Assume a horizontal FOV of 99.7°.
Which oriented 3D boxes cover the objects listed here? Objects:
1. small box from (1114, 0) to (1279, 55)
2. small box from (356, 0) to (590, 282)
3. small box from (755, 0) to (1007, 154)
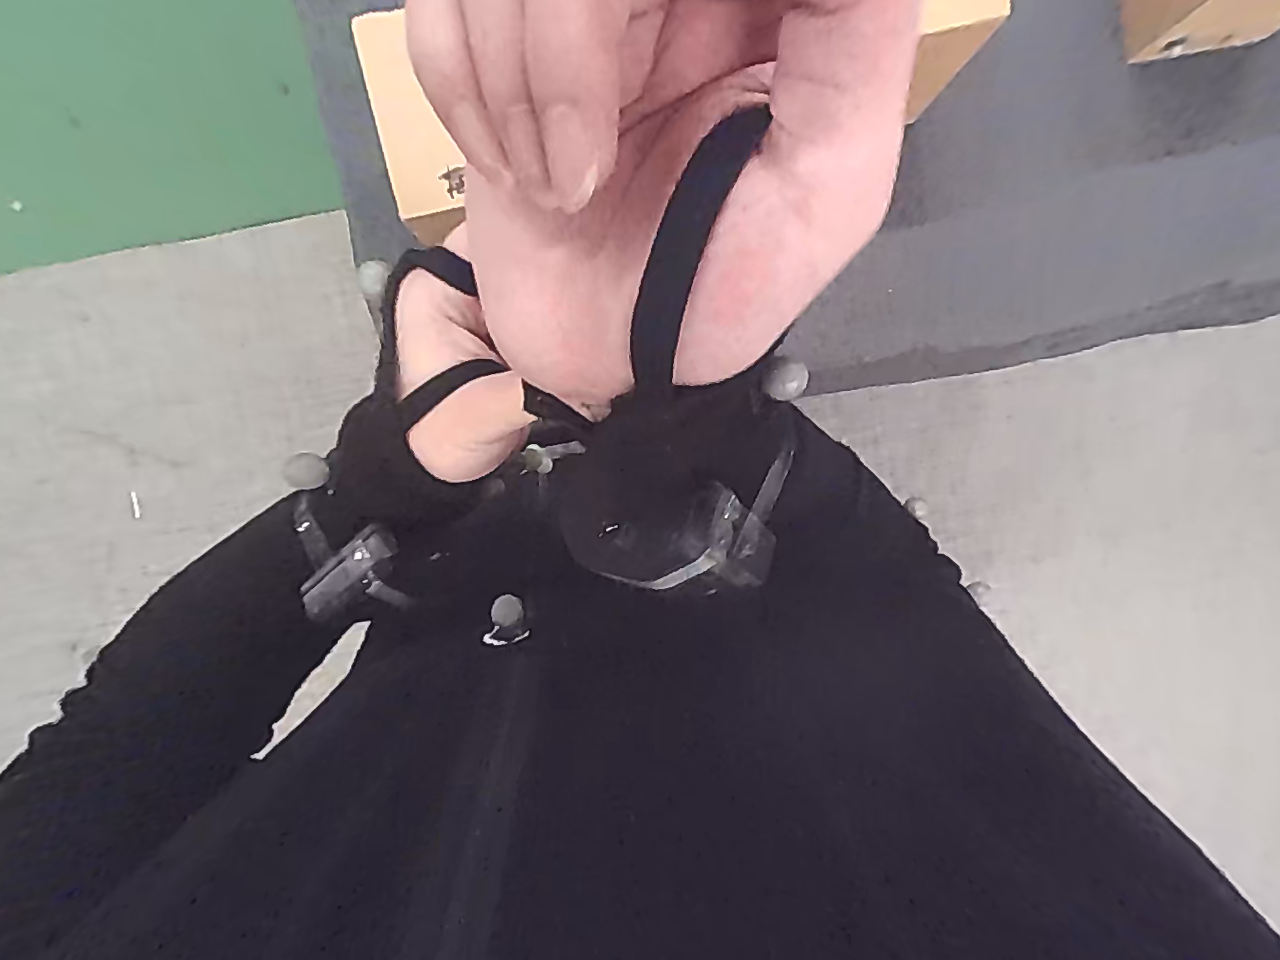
[{"bbox_3d":[0.636,-0.581,0.556,0.168,0.176,0.179,-10,94,-1],"label":"small box"},{"bbox_3d":[-0.151,-0.328,0.550,0.168,0.176,0.179,-13,93,-1],"label":"small box"},{"bbox_3d":[0.228,-0.479,0.555,0.168,0.176,0.179,-13,95,0],"label":"small box"}]
